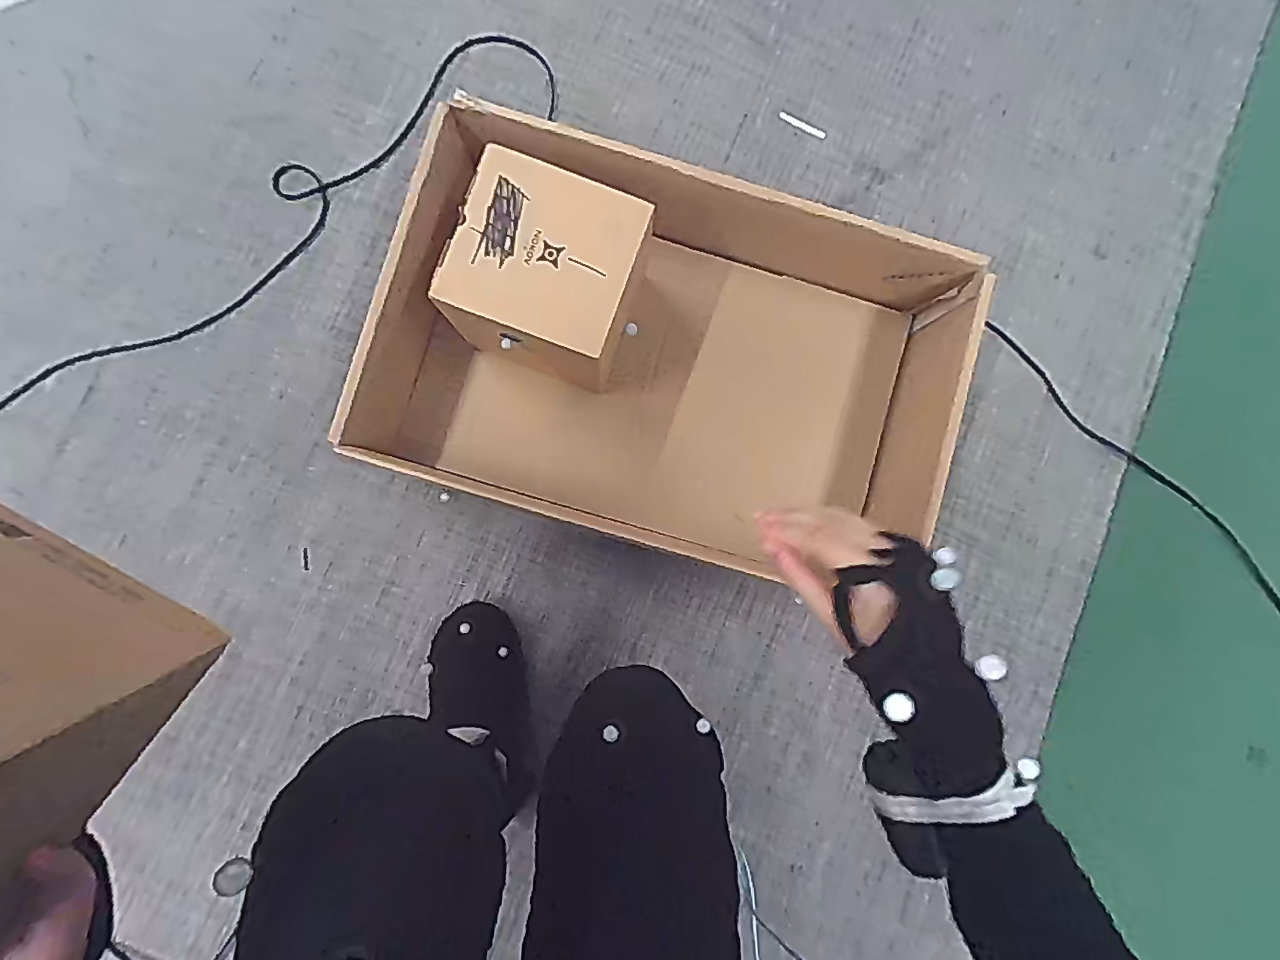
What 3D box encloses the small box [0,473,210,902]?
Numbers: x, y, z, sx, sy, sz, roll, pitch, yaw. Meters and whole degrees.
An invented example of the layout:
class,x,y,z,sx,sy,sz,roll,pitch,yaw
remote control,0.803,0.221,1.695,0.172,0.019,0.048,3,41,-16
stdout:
class,x,y,z,sx,sy,sz,roll,pitch,yaw
small box,-0.302,0.092,0.175,0.168,0.176,0.179,37,79,-12
